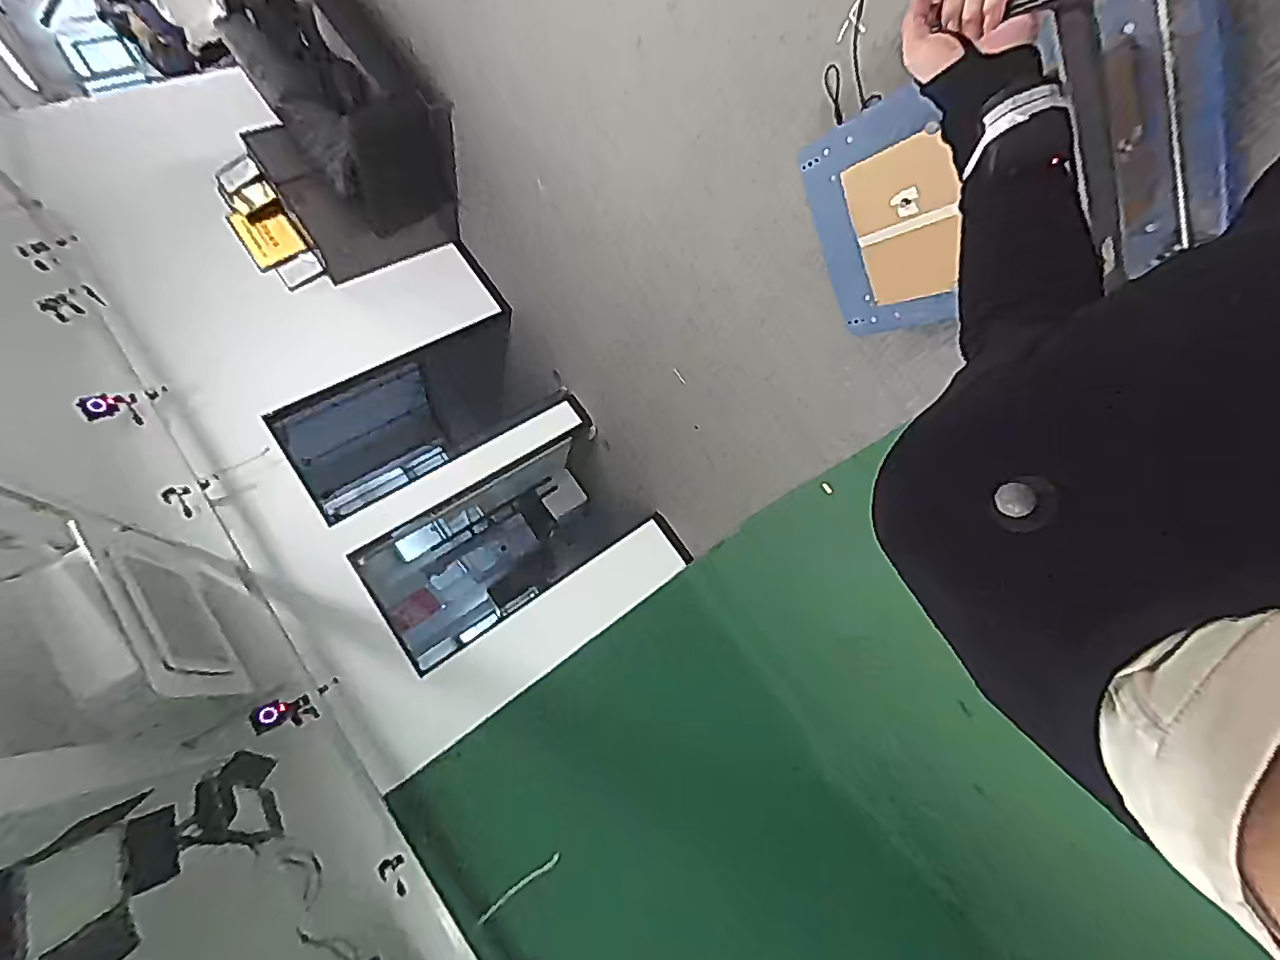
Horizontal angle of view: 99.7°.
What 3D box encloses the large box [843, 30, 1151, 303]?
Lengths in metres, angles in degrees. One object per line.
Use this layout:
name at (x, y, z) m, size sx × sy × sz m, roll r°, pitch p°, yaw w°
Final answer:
large box at (0.715, -0.608, 1.113) m, size 0.408 × 0.320 × 0.320 m, roll 11°, pitch 129°, yaw 61°
